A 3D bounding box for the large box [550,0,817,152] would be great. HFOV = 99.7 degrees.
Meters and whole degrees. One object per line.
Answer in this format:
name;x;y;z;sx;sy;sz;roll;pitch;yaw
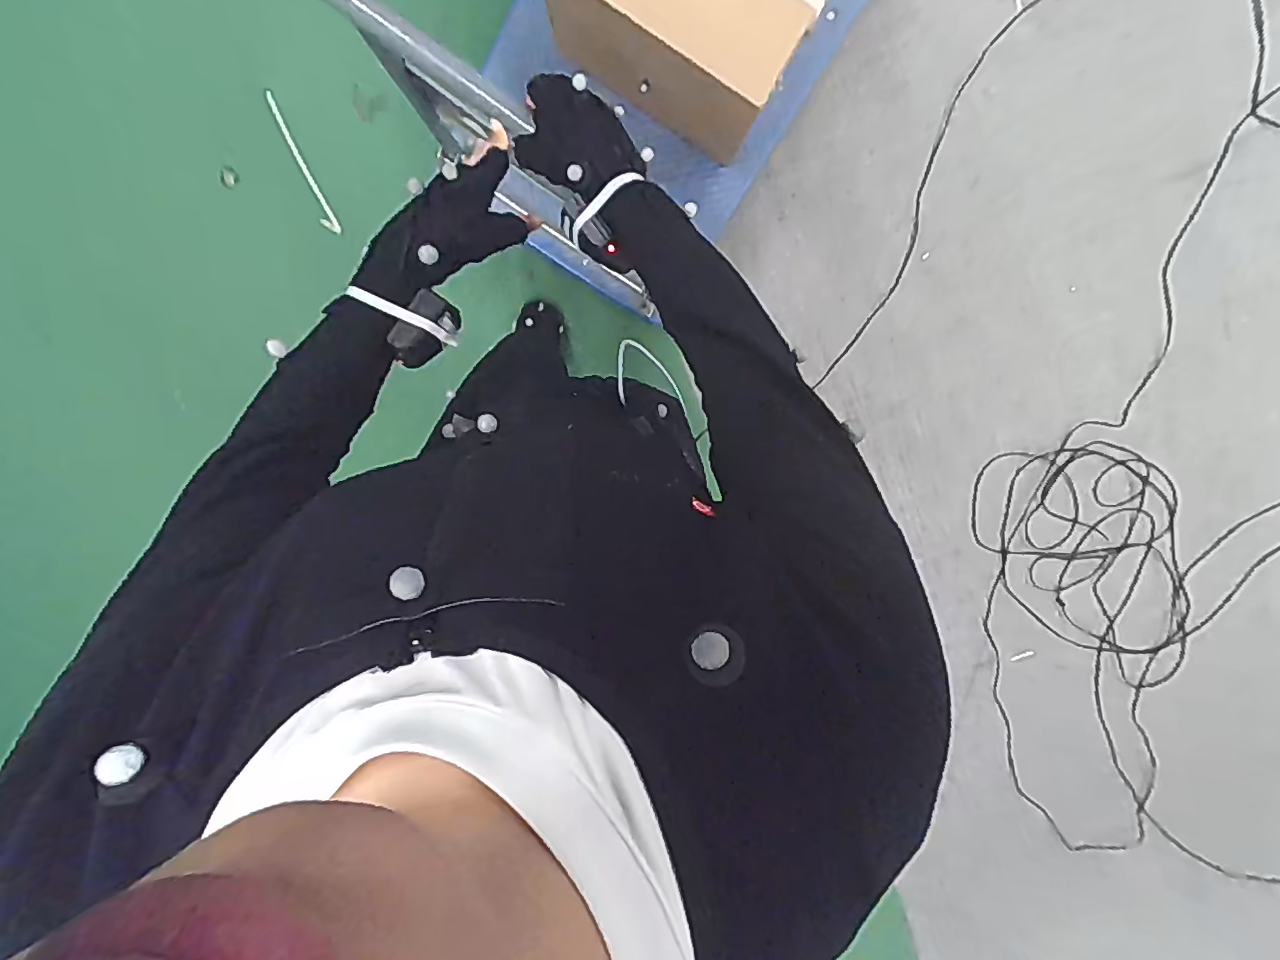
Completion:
large box;0.092;-0.853;0.921;0.408;0.320;0.320;29;102;-8
